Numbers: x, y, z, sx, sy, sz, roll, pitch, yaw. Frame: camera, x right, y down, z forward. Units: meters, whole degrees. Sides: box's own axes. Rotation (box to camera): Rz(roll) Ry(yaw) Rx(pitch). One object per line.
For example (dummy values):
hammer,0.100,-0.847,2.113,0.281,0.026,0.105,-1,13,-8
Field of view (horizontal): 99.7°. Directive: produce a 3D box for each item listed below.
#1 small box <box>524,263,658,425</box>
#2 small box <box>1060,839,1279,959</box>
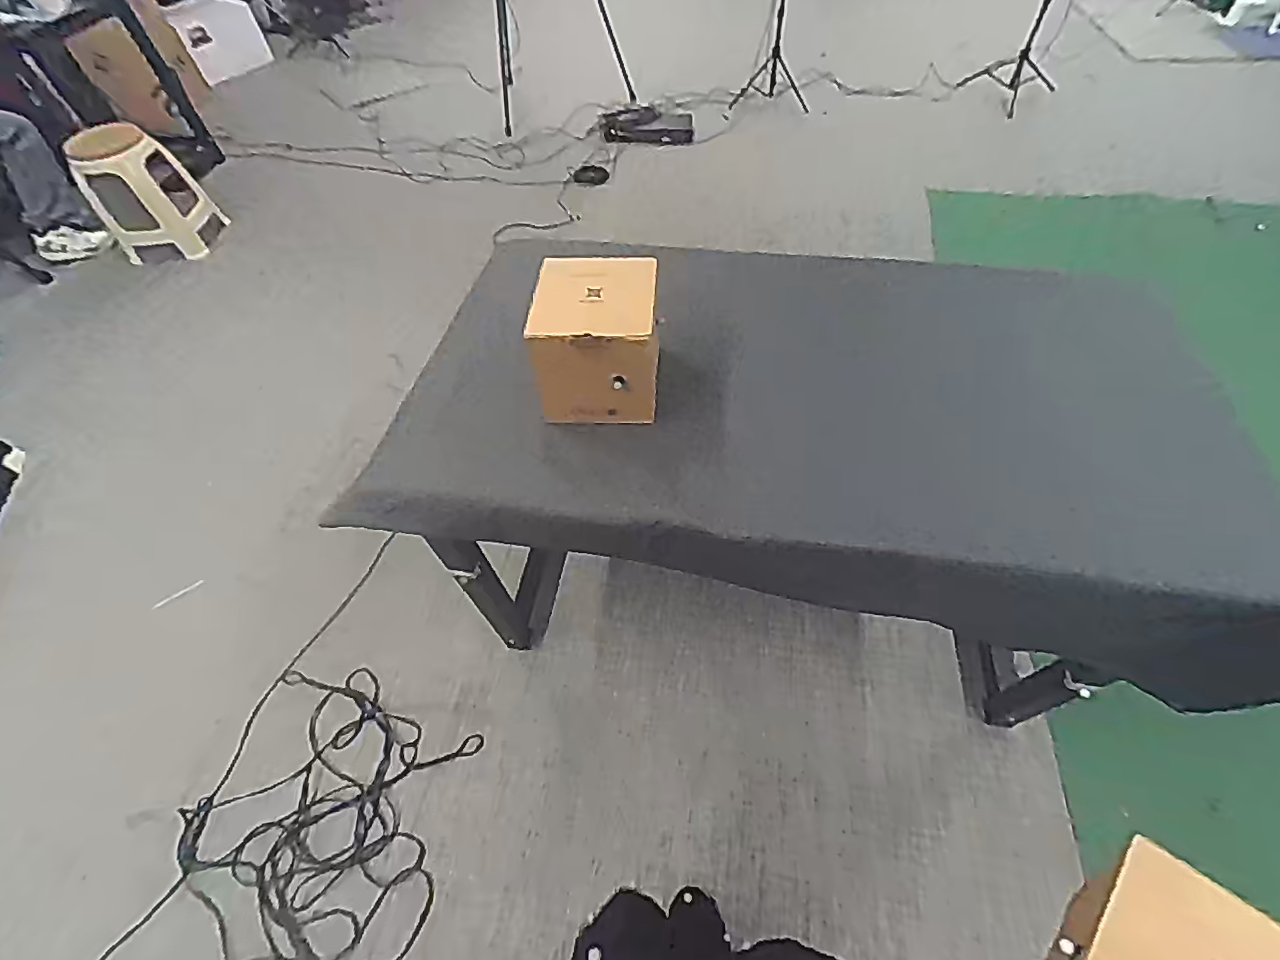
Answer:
small box,-0.060,-0.196,0.798,0.168,0.176,0.179,2,53,3
small box,0.503,0.488,0.491,0.179,0.176,0.168,-32,41,-28
